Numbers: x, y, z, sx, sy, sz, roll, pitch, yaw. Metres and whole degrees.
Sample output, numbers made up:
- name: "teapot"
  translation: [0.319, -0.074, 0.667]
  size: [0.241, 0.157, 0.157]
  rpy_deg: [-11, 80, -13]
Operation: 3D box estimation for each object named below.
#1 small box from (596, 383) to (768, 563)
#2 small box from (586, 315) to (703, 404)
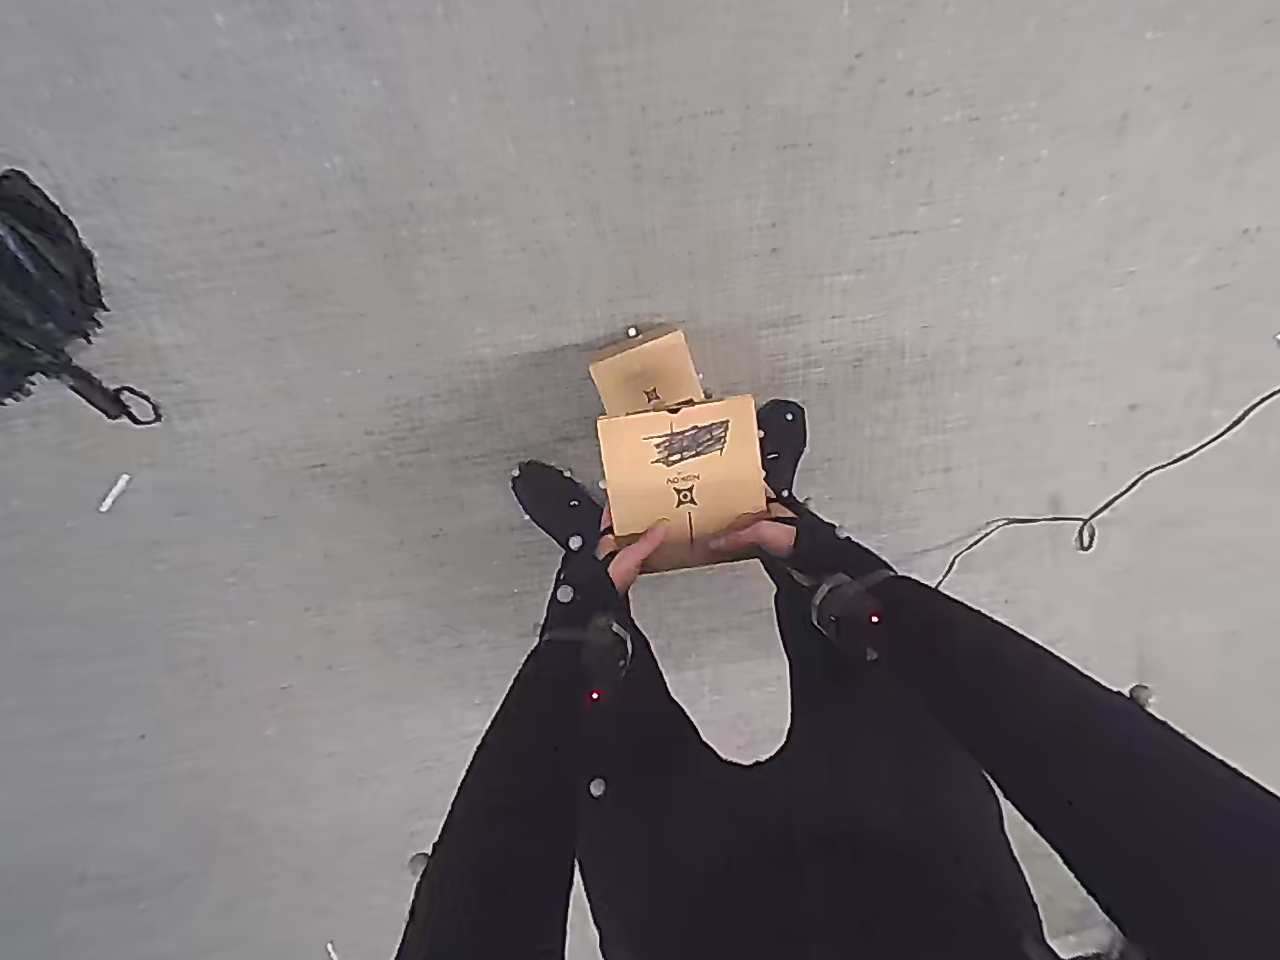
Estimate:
- name: "small box"
  translation: [0.048, -0.017, 0.652]
  size: [0.168, 0.176, 0.179]
  rpy_deg: [-9, 99, 5]
- name: "small box"
  translation: [0.012, -0.182, 0.971]
  size: [0.168, 0.176, 0.179]
  rpy_deg: [-22, 111, 2]
